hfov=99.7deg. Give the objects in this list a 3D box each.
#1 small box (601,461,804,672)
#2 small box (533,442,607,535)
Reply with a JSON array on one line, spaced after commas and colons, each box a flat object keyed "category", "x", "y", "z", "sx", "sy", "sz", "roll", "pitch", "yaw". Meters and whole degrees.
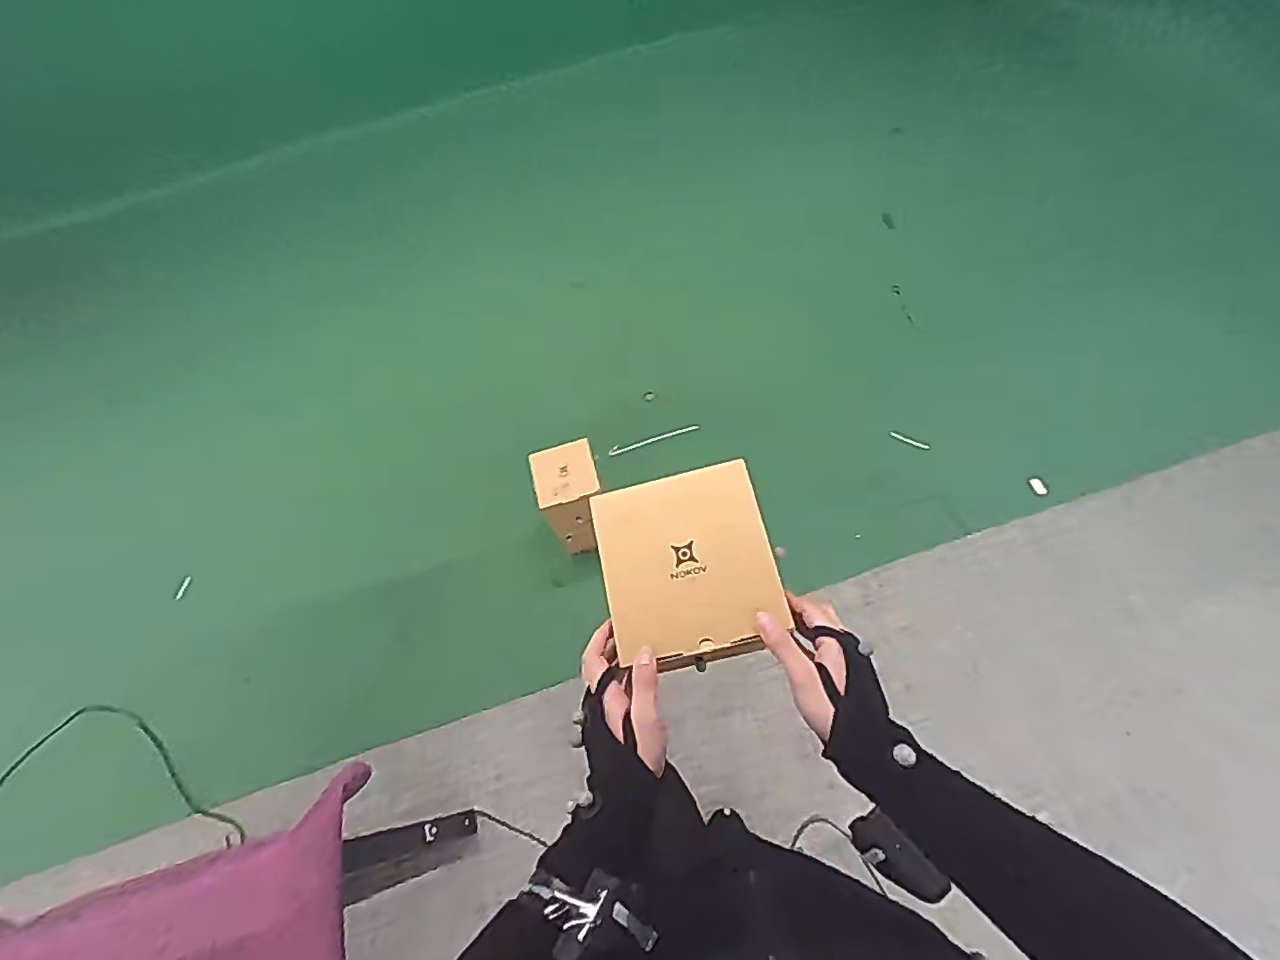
[{"category": "small box", "x": 0.063, "y": 0.104, "z": 0.592, "sx": 0.168, "sy": 0.176, "sz": 0.179, "roll": -14, "pitch": 68, "yaw": 4}, {"category": "small box", "x": -0.183, "y": 0.028, "z": 1.496, "sx": 0.168, "sy": 0.176, "sz": 0.179, "roll": -17, "pitch": 61, "yaw": -1}]
